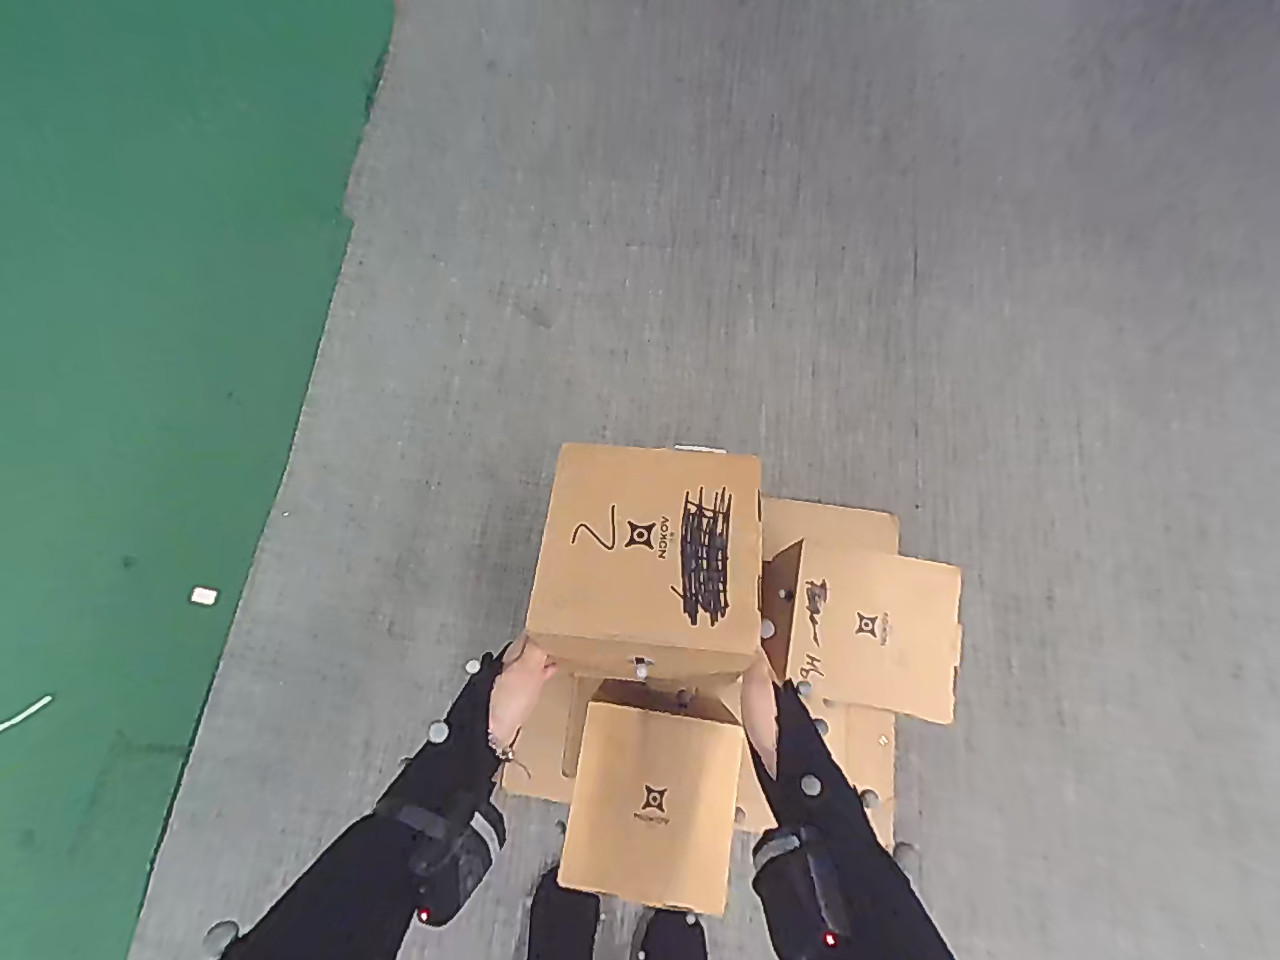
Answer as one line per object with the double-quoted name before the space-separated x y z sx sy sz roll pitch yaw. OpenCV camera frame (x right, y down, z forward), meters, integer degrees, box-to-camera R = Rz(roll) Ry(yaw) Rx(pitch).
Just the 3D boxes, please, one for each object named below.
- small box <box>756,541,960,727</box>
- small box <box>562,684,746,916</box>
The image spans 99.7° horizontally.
"small box" 0.252 0.180 0.656 0.179 0.176 0.168 11 75 5
"small box" 0.016 0.342 0.618 0.168 0.176 0.179 8 77 2
